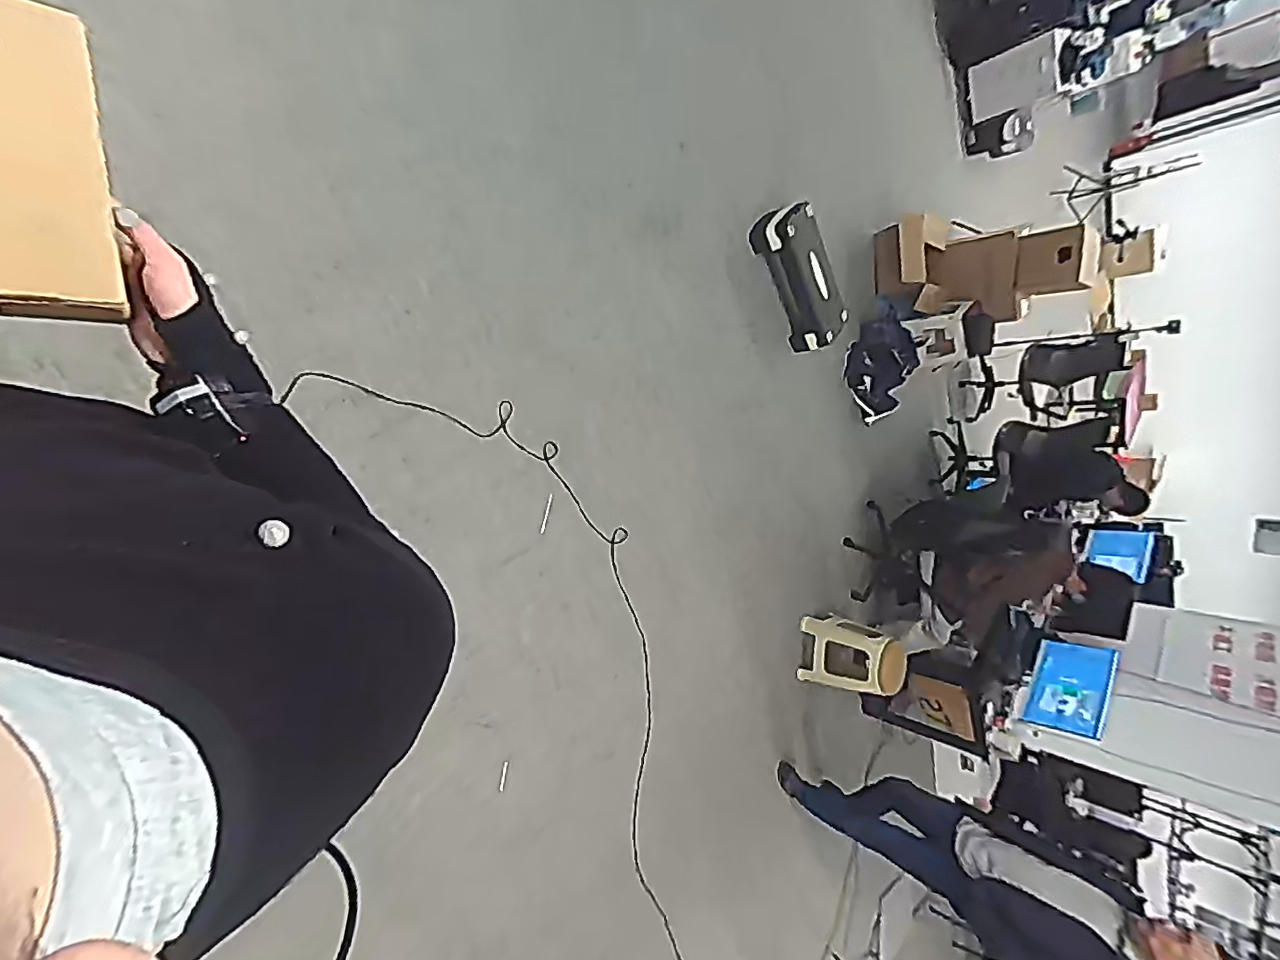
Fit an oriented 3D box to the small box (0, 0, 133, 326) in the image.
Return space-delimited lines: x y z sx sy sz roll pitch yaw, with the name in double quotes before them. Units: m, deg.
"small box" -0.450 -0.197 0.349 0.168 0.176 0.179 -9 105 -43
